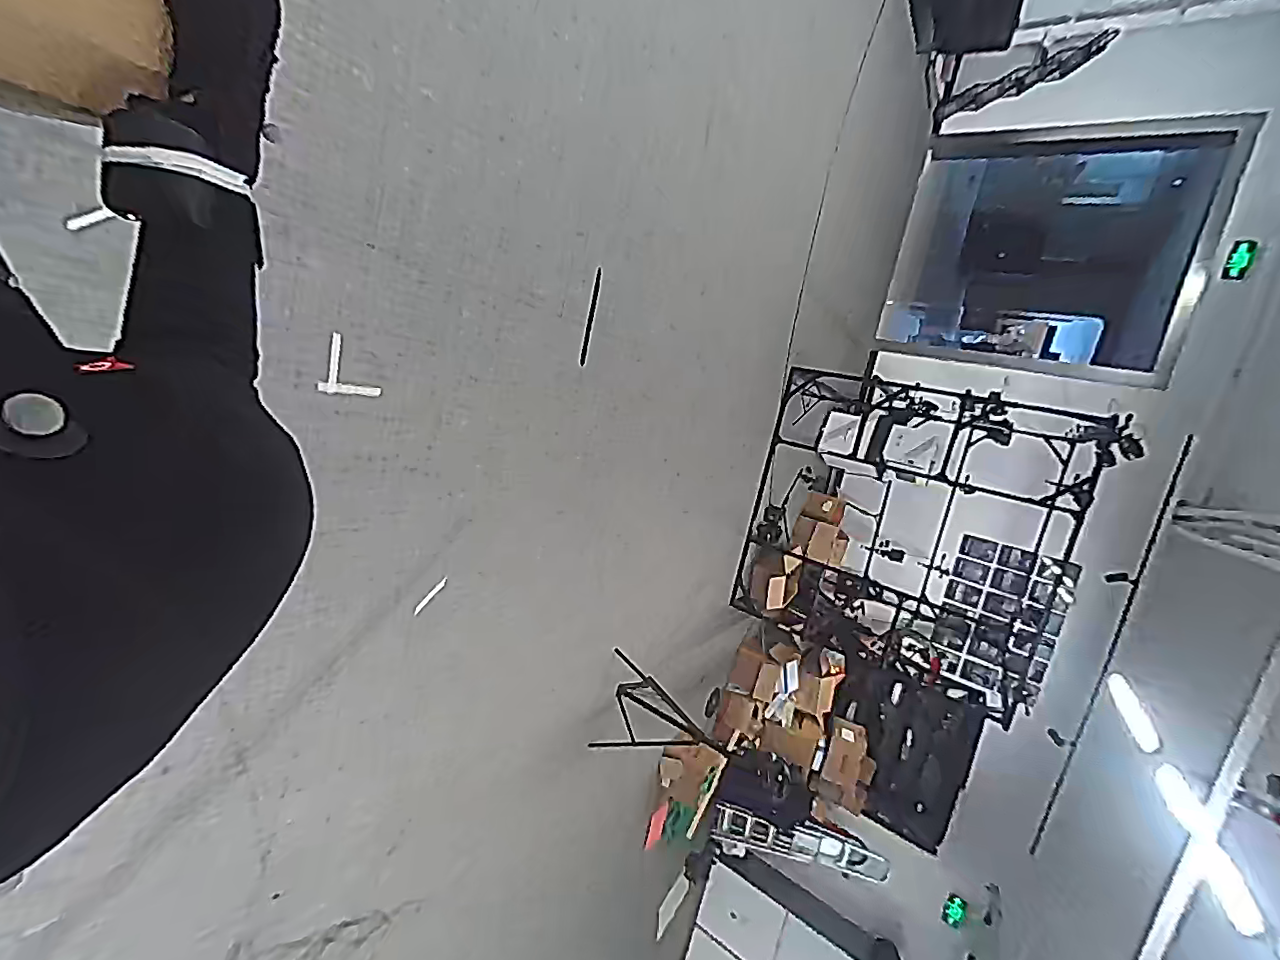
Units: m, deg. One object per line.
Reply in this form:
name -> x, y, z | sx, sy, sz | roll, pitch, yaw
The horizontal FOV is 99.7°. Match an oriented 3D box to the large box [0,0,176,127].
large box -> -0.527, -0.433, 0.254 | 0.408, 0.320, 0.320 | -8, 120, -60
